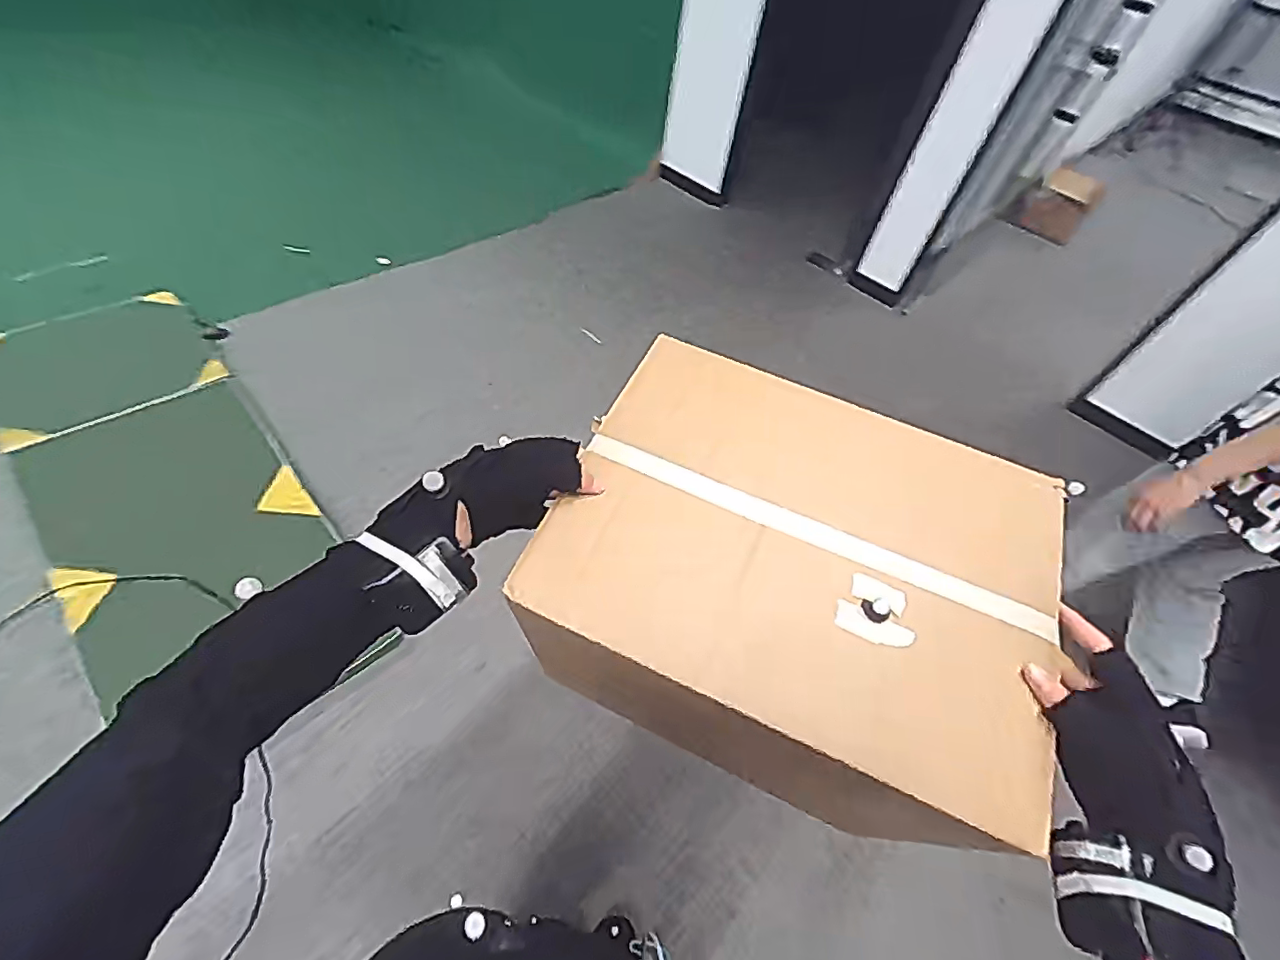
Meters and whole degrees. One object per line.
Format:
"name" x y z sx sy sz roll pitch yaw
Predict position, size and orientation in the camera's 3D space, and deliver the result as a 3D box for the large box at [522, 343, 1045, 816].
"large box" 0.132 0.117 0.597 0.408 0.320 0.320 23 61 9
